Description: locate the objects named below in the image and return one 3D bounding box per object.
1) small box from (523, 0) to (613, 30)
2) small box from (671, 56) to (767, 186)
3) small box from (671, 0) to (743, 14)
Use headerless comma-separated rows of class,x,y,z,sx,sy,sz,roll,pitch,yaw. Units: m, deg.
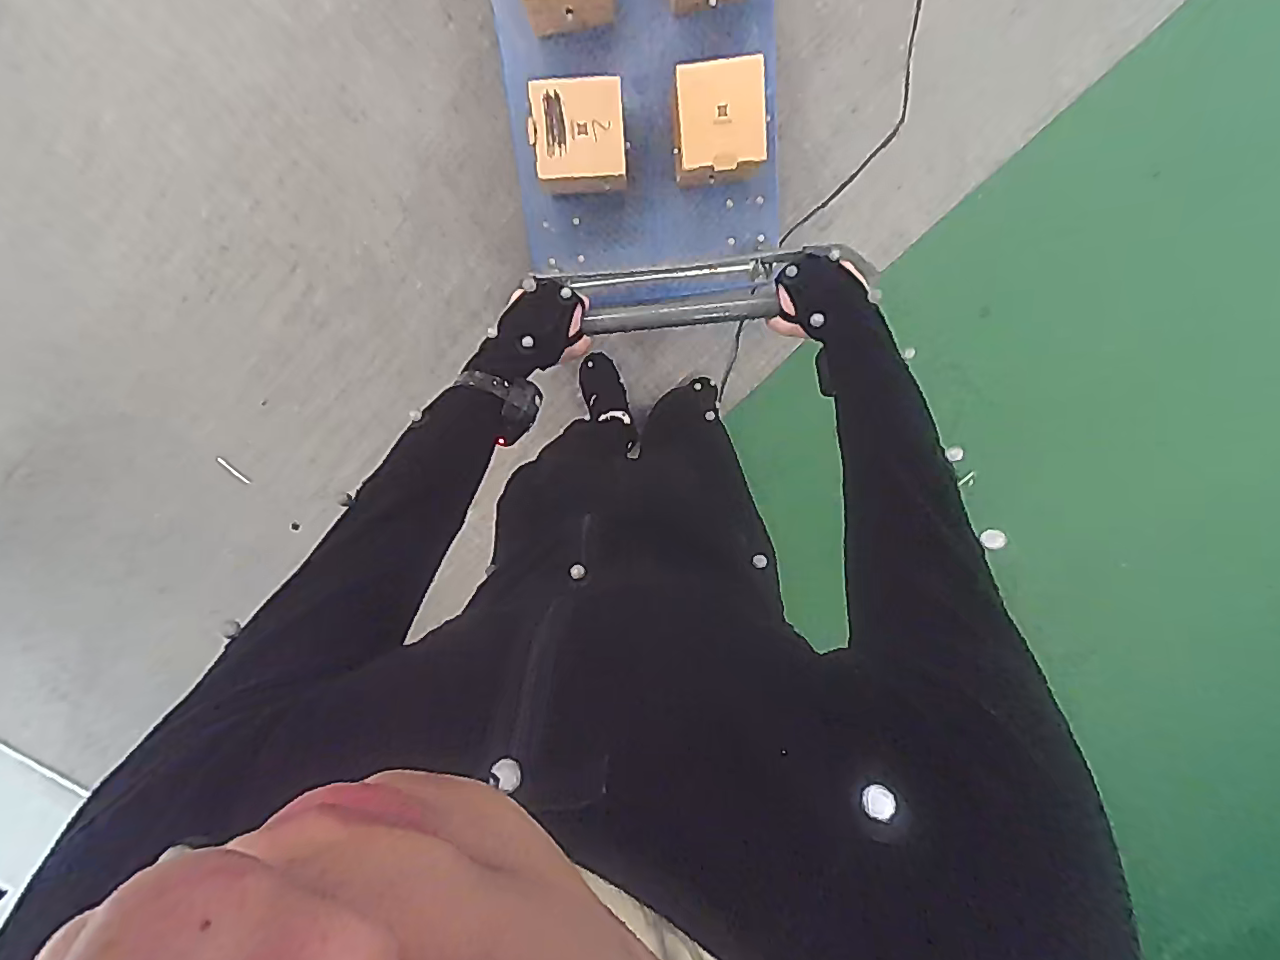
small box,-0.145,-0.977,1.004,0.168,0.176,0.179,-10,109,2
small box,0.156,-0.719,1.101,0.168,0.176,0.179,-6,110,1
small box,0.131,-1.016,0.996,0.168,0.176,0.179,-10,110,3
